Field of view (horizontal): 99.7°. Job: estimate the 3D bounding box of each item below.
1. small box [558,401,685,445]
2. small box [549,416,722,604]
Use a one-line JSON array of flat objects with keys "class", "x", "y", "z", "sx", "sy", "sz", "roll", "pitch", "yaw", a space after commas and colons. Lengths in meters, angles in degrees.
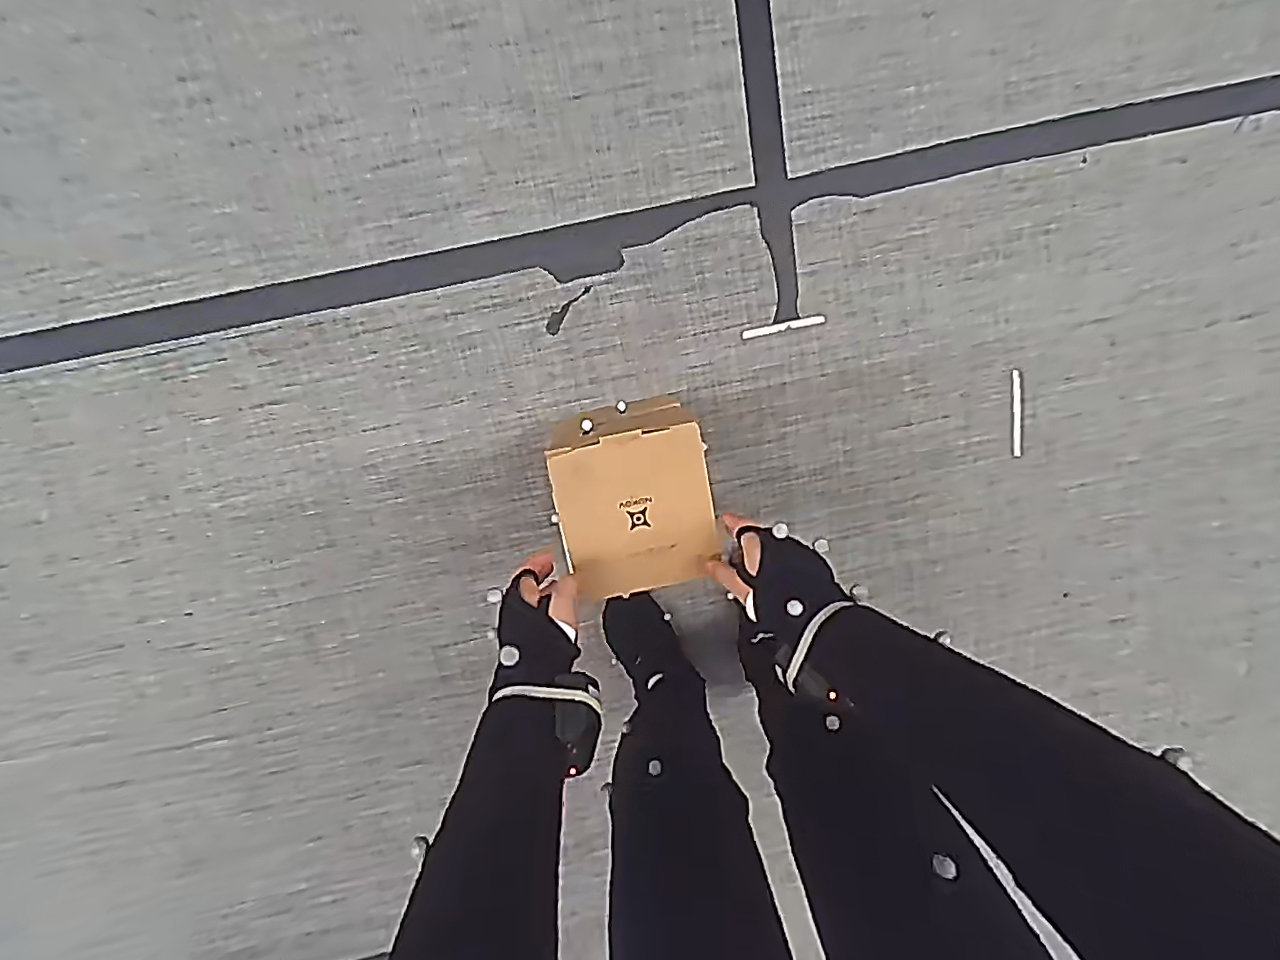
[{"class": "small box", "x": -0.017, "y": -0.019, "z": 0.821, "sx": 0.179, "sy": 0.176, "sz": 0.168, "roll": -13, "pitch": 103, "yaw": -1}, {"class": "small box", "x": -0.007, "y": 0.023, "z": 0.664, "sx": 0.168, "sy": 0.176, "sz": 0.179, "roll": -12, "pitch": 105, "yaw": 0}]
